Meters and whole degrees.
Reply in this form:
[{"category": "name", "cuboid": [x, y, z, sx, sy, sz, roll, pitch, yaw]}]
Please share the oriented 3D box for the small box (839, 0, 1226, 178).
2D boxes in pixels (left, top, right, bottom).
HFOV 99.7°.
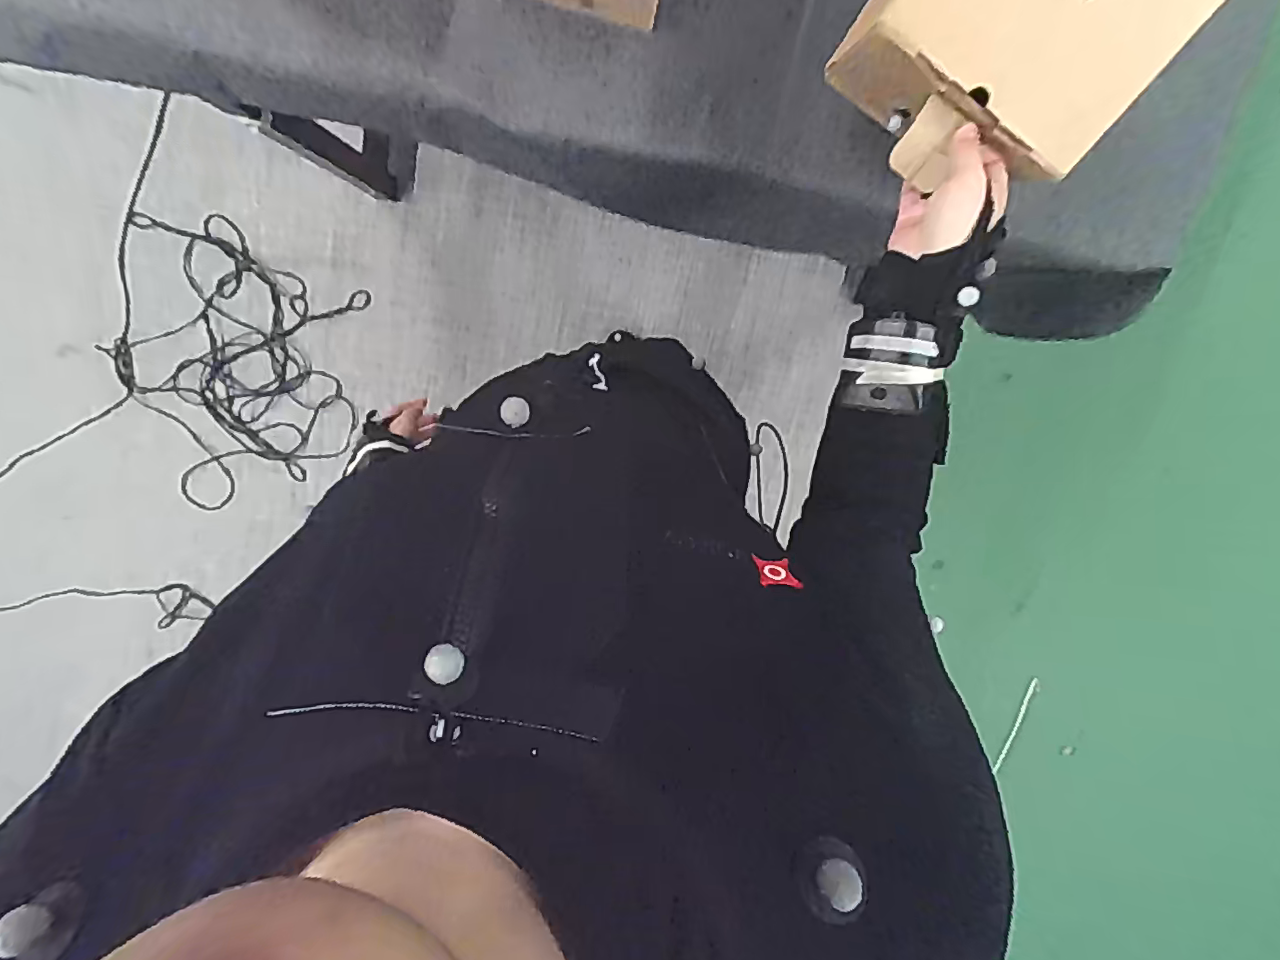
[{"category": "small box", "cuboid": [0.271, -0.345, 0.382, 0.168, 0.176, 0.179, 30, 117, -10]}]
